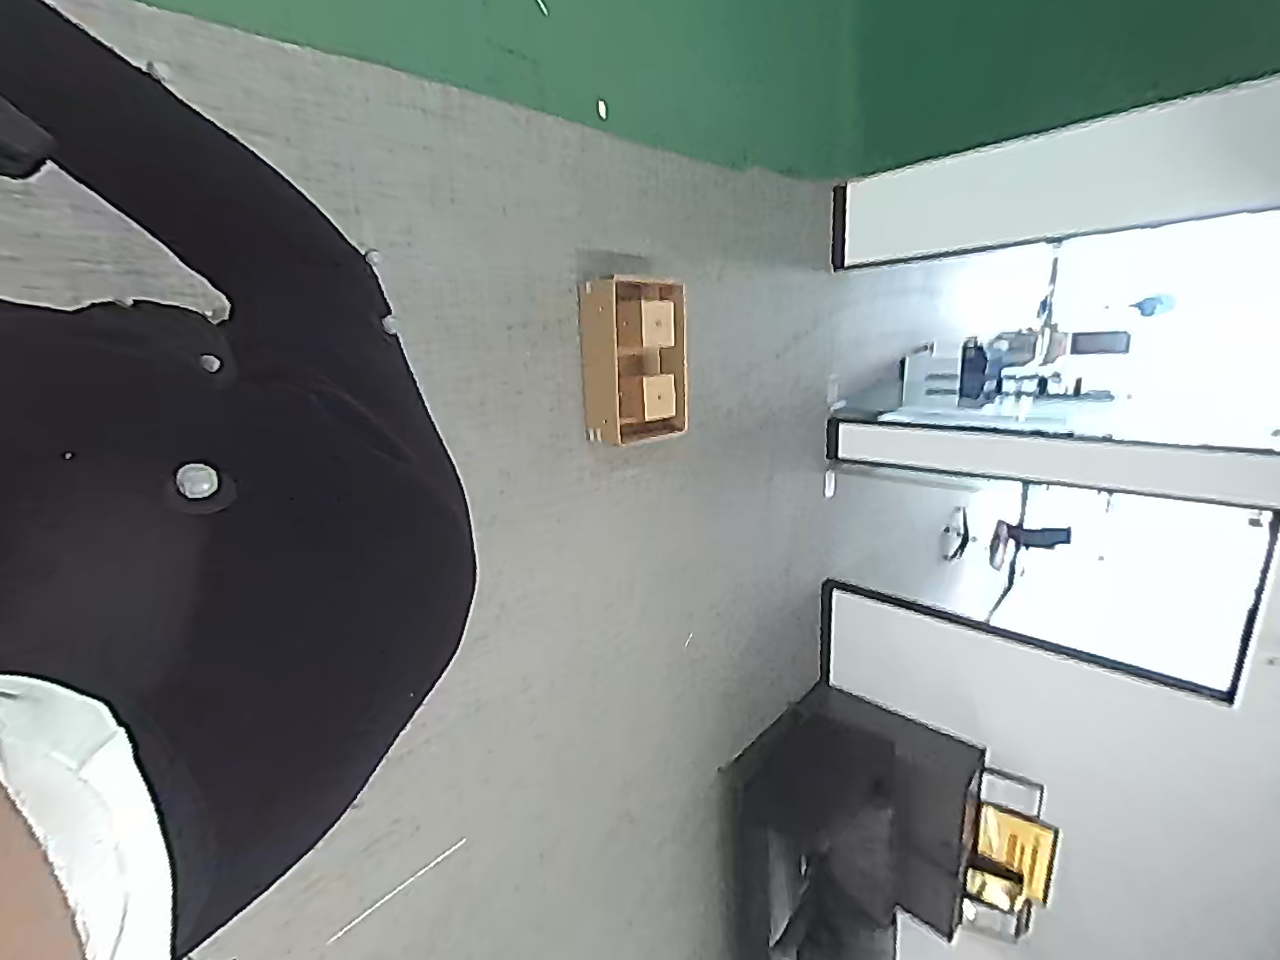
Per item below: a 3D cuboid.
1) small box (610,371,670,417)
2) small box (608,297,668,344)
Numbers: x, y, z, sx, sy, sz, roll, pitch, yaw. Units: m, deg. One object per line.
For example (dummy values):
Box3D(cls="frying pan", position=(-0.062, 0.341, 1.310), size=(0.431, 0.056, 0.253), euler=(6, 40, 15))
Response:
Box3D(cls="small box", position=(-0.001, -0.348, 2.157), size=(0.179, 0.176, 0.168), euler=(-16, 109, -42))
Box3D(cls="small box", position=(-0.010, -0.613, 2.085), size=(0.179, 0.176, 0.168), euler=(-17, 111, -44))
